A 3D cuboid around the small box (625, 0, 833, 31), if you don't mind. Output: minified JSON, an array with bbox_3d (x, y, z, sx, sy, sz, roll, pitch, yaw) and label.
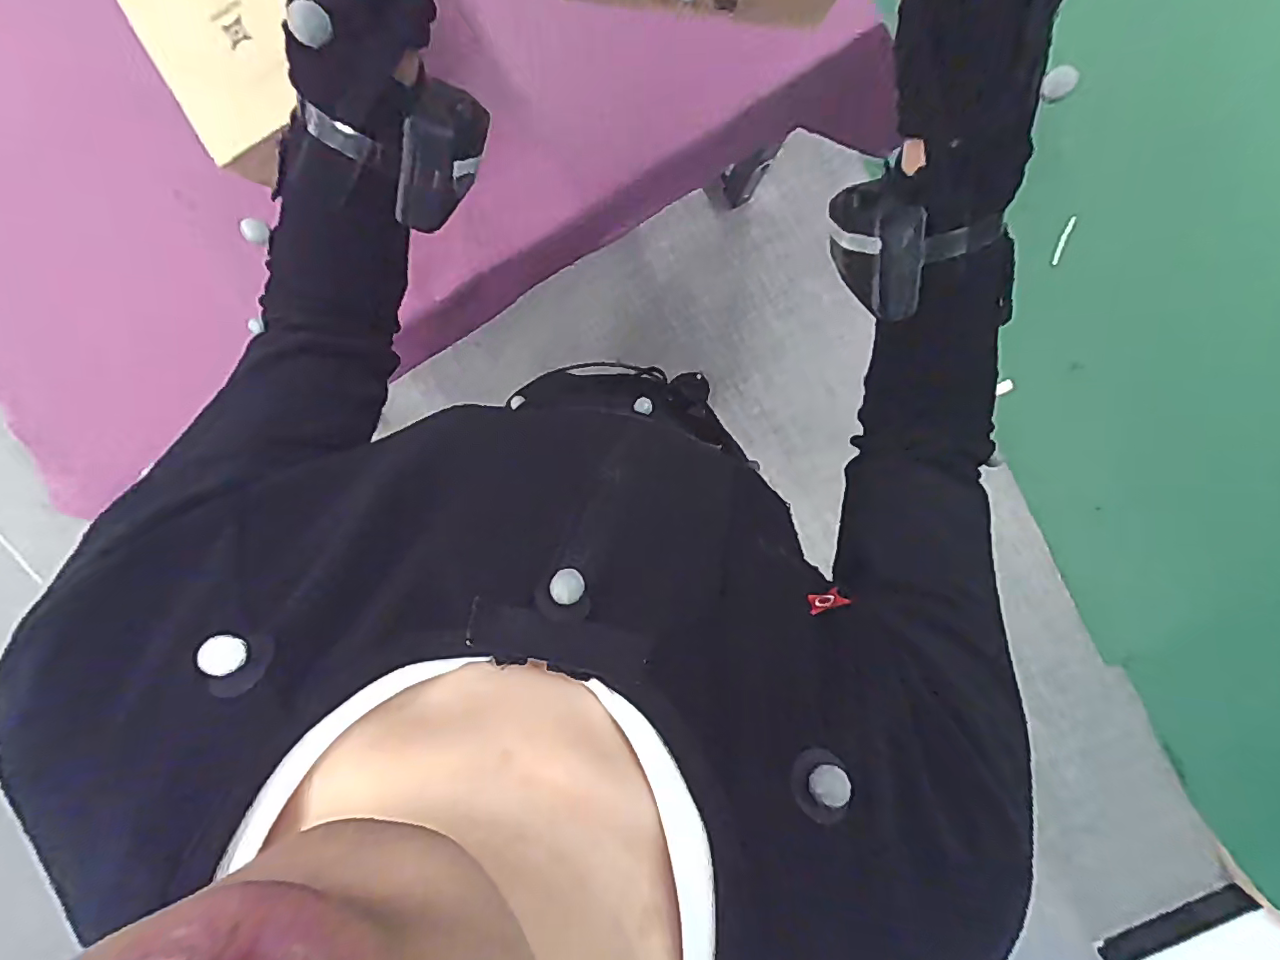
[{"bbox_3d":[0.043,-0.350,0.234,0.168,0.176,0.179,9,107,0],"label":"small box"}]

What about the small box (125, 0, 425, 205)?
[{"bbox_3d":[-0.367,-0.430,0.573,0.168,0.176,0.179,-26,101,7],"label":"small box"}]

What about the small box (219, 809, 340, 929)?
[{"bbox_3d":[-0.963,1.044,1.461,0.179,0.176,0.168,-31,100,8],"label":"small box"}]
